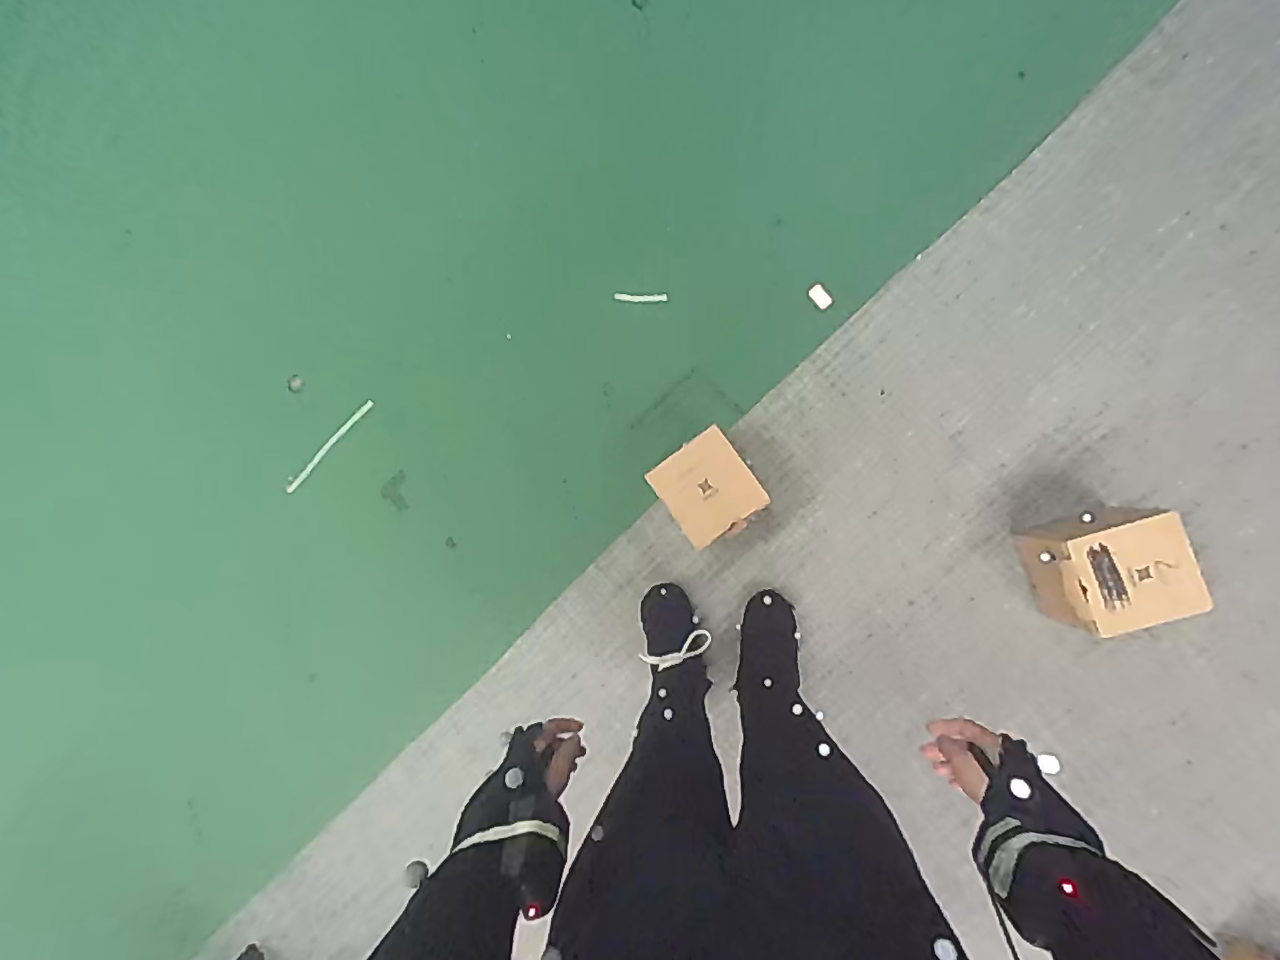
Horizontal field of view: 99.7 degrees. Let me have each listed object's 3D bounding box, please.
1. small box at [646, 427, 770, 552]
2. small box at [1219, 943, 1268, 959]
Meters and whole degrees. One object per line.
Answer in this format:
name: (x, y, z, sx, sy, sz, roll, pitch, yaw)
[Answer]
small box: (0.136, 0.017, 1.065, 0.168, 0.176, 0.179, -36, 83, 7)
small box: (1.090, 0.940, 0.894, 0.168, 0.176, 0.179, 27, 95, 9)
